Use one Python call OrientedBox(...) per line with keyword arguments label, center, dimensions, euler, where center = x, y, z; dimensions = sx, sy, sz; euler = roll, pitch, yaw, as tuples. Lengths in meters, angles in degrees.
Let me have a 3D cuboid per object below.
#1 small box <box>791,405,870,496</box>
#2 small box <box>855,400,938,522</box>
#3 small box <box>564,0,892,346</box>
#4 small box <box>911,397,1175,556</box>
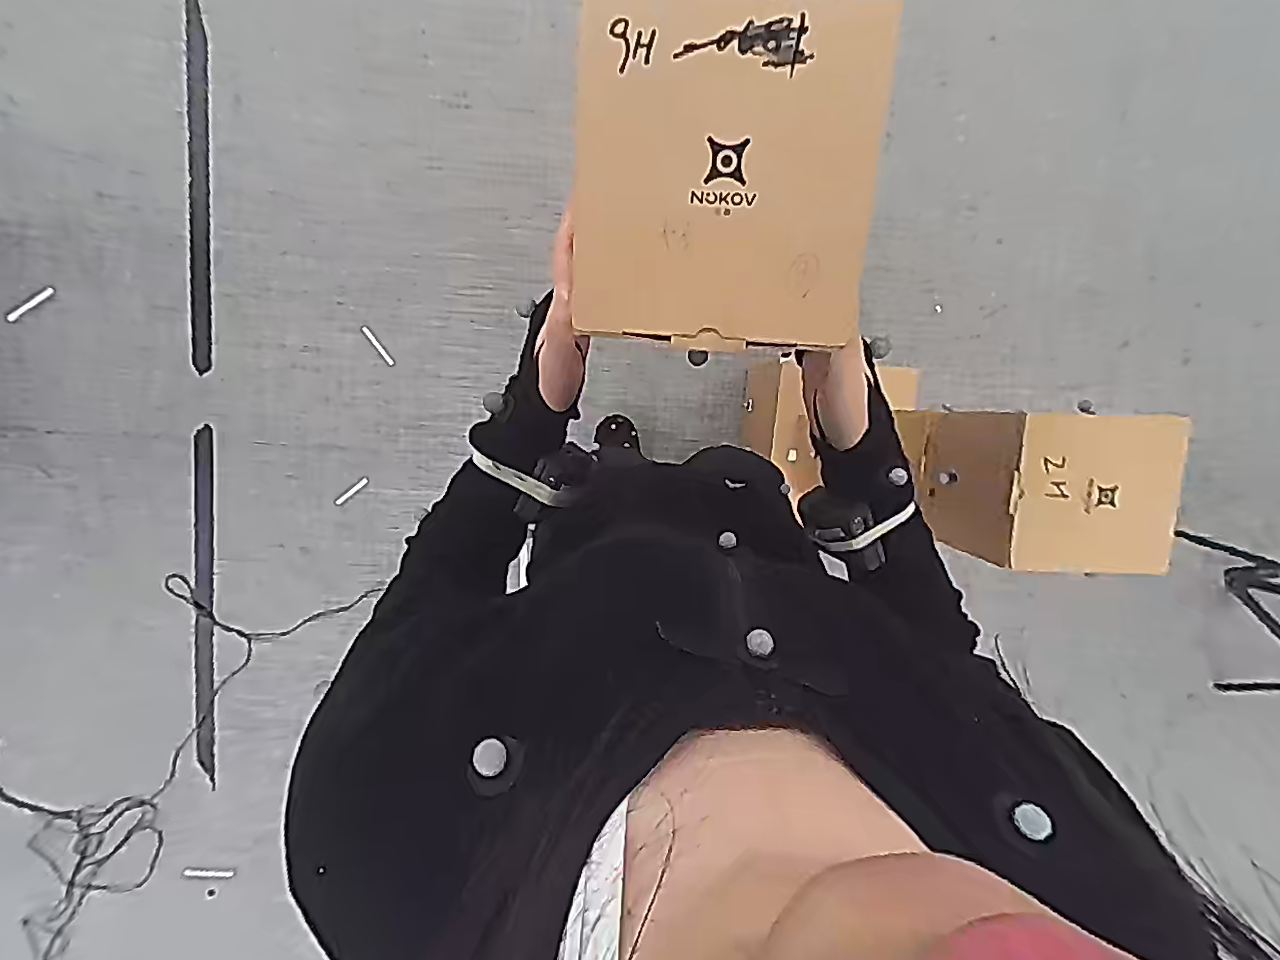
OrientedBox(label="small box", center=(0.421, -0.065, 1.123), dimensions=(0.168, 0.176, 0.179), euler=(1, 98, -1))
OrientedBox(label="small box", center=(0.444, -0.032, 0.798), dimensions=(0.179, 0.176, 0.168), euler=(2, 97, -1))
OrientedBox(label="small box", center=(0.046, -0.190, 0.372), dimensions=(0.168, 0.176, 0.179), euler=(4, 106, 2))
OrientedBox(label="small box", center=(0.453, -0.012, 0.635), dimensions=(0.179, 0.176, 0.168), euler=(0, 97, -1))
